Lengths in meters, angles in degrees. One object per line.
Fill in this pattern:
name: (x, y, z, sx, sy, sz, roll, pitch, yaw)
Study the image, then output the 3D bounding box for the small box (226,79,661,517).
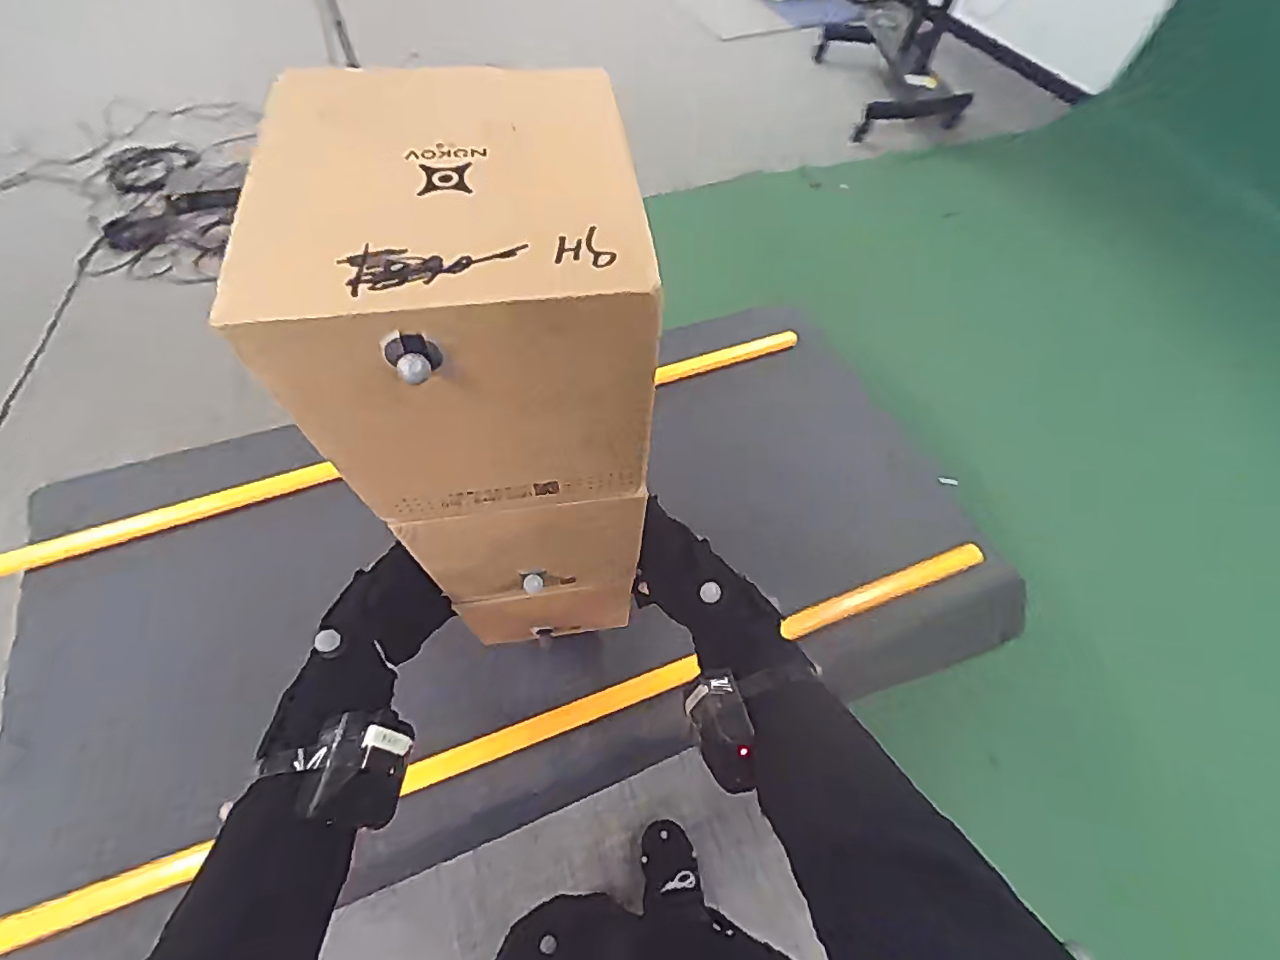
small box: (-0.087, -0.098, 0.316, 0.168, 0.176, 0.179, -6, 61, -6)

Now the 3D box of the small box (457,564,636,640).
small box: (-0.101, 0.064, 0.601, 0.168, 0.176, 0.179, -7, 63, -7)

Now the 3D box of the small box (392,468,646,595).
small box: (-0.091, -0.017, 0.458, 0.168, 0.176, 0.179, -6, 62, -6)
